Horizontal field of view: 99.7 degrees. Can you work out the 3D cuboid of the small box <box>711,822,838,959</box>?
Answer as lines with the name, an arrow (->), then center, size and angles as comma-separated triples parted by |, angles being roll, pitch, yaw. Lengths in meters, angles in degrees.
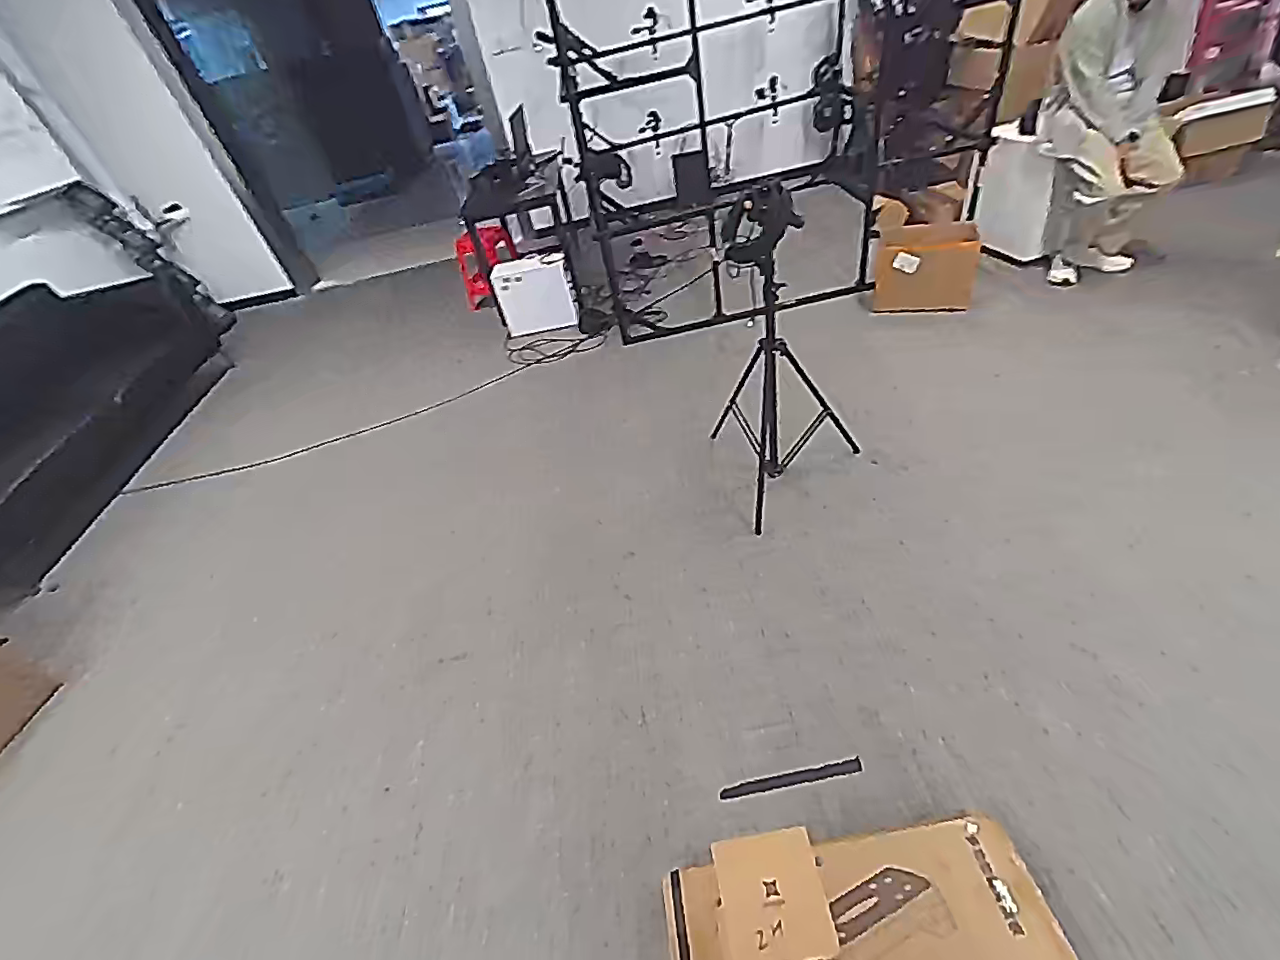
small box -> 0.220, 0.718, 0.921 | 0.168, 0.176, 0.179 | -11, 41, 3
